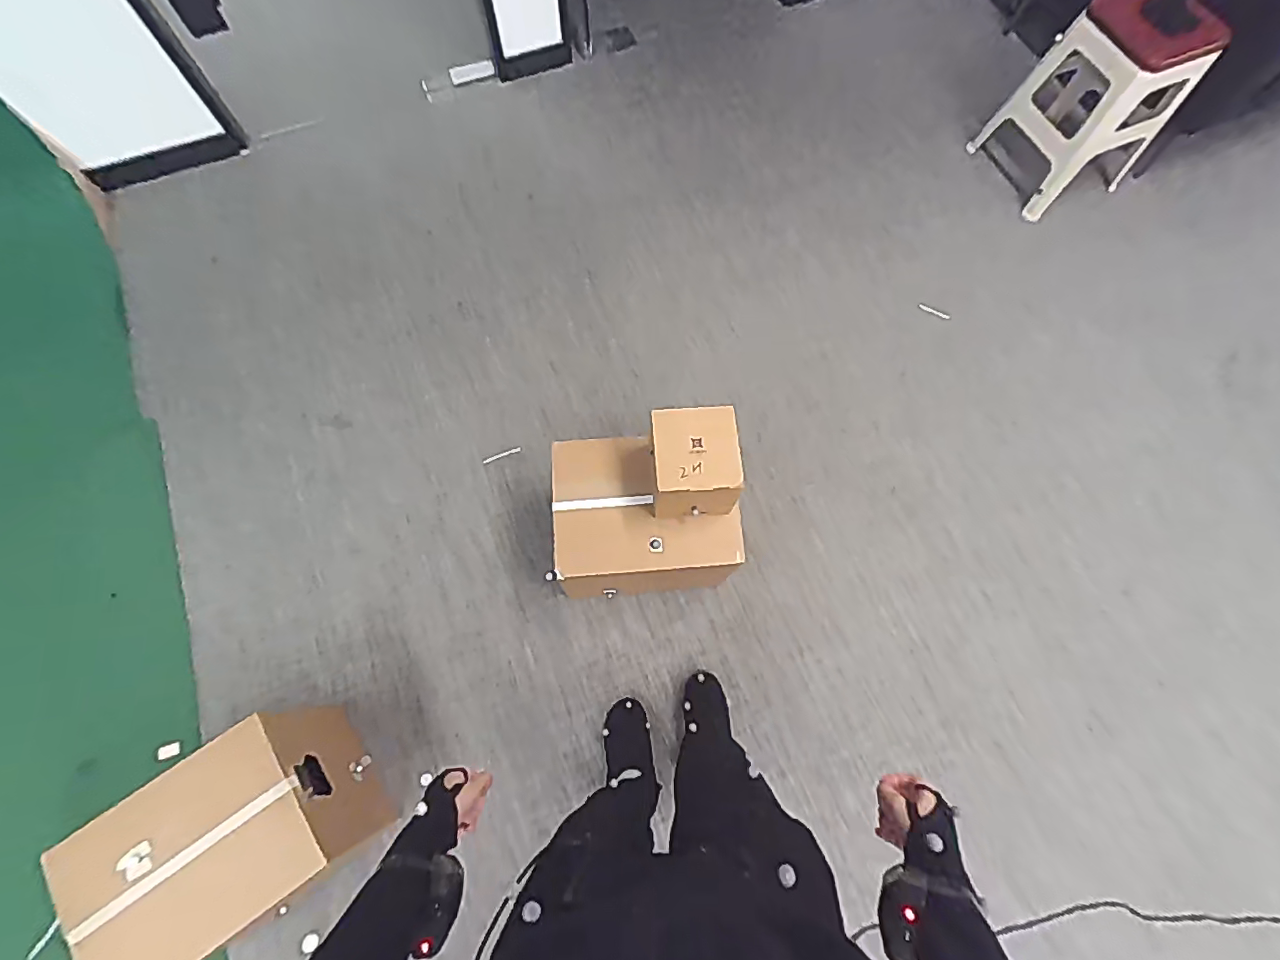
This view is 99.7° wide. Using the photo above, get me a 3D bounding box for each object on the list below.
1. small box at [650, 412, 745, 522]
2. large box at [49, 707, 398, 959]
[{"bbox_3d":[0.109,-0.023,1.110,0.168,0.176,0.179,-3,69,-2],"label":"small box"},{"bbox_3d":[-0.789,0.722,1.086,0.408,0.320,0.320,-35,74,-11],"label":"large box"}]
